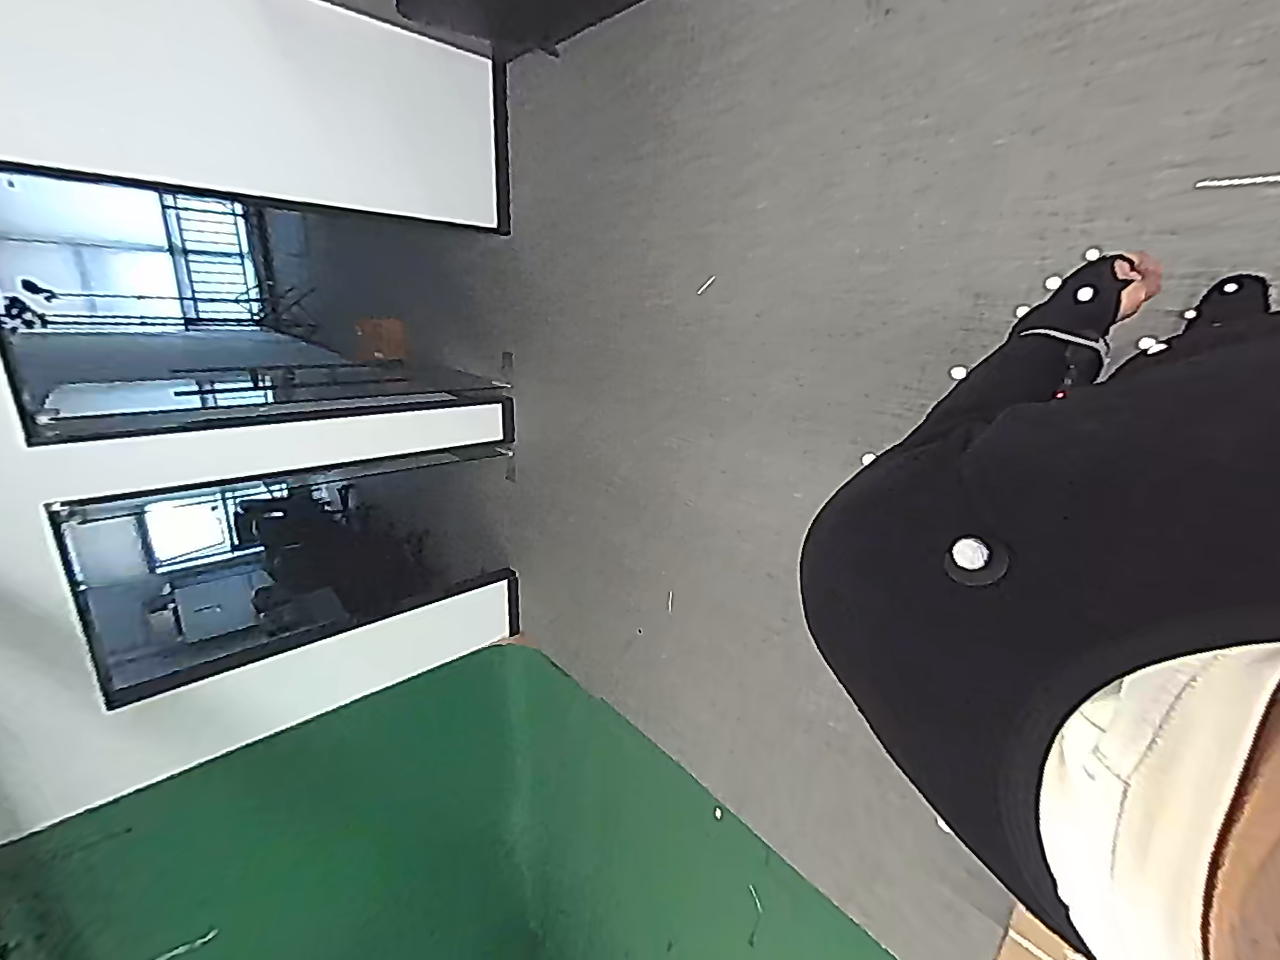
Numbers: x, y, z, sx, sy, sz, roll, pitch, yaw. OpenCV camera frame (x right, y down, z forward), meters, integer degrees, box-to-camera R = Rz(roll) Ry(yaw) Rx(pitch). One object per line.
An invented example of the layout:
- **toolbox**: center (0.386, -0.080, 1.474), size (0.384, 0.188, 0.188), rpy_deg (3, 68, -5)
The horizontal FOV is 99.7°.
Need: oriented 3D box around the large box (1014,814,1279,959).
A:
- **large box**: center (1.201, 1.125, 1.292), size (0.408, 0.320, 0.320), rpy_deg (20, 114, 45)
